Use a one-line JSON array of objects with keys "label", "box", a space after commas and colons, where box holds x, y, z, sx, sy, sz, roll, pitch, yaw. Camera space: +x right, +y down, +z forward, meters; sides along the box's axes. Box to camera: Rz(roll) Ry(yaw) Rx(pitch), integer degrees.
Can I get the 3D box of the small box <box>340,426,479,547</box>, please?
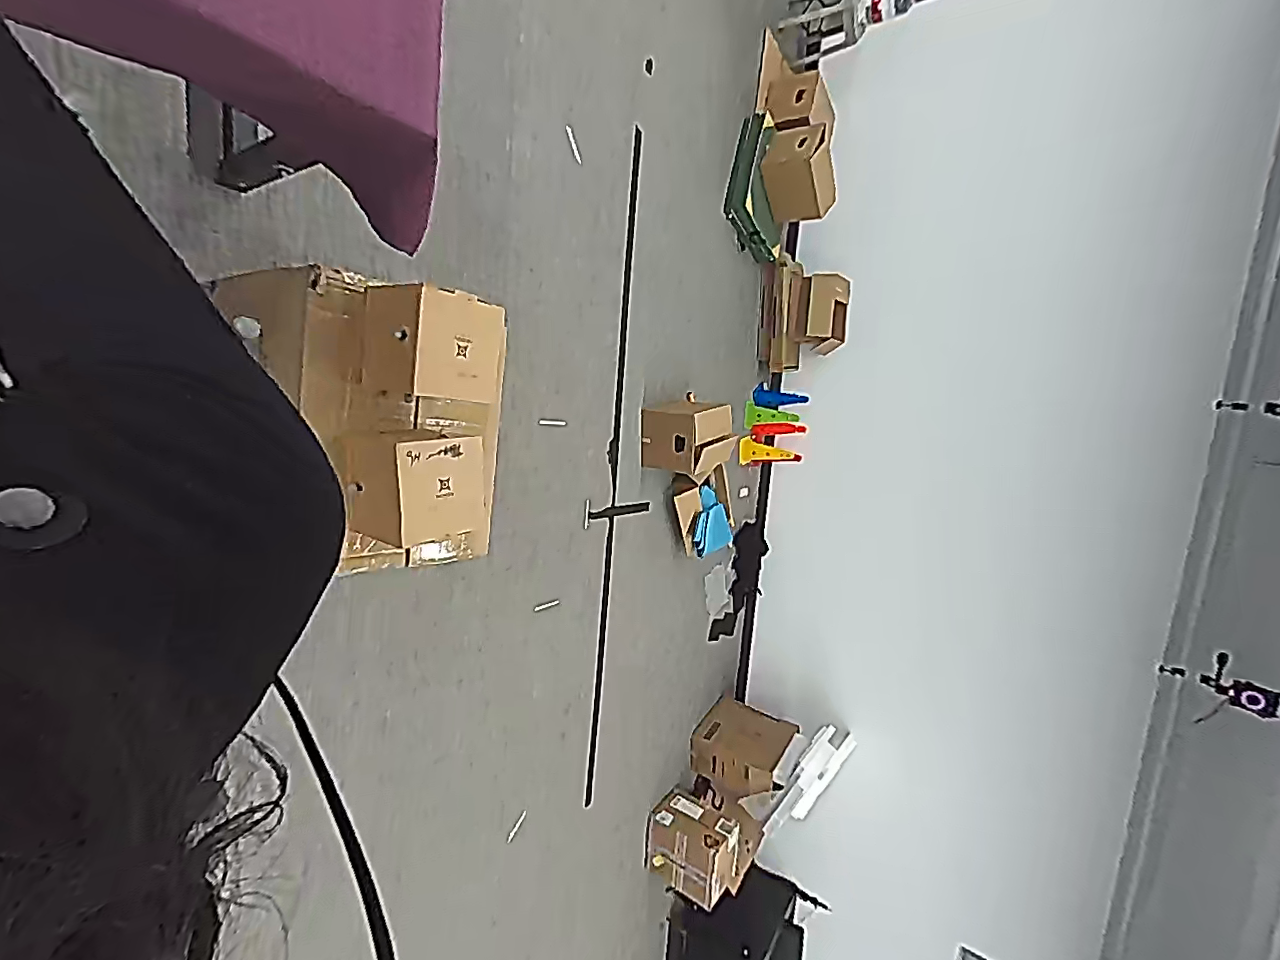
[{"label": "small box", "box": [-0.406, 0.002, 0.954, 0.168, 0.176, 0.179, -12, 108, -54]}]
